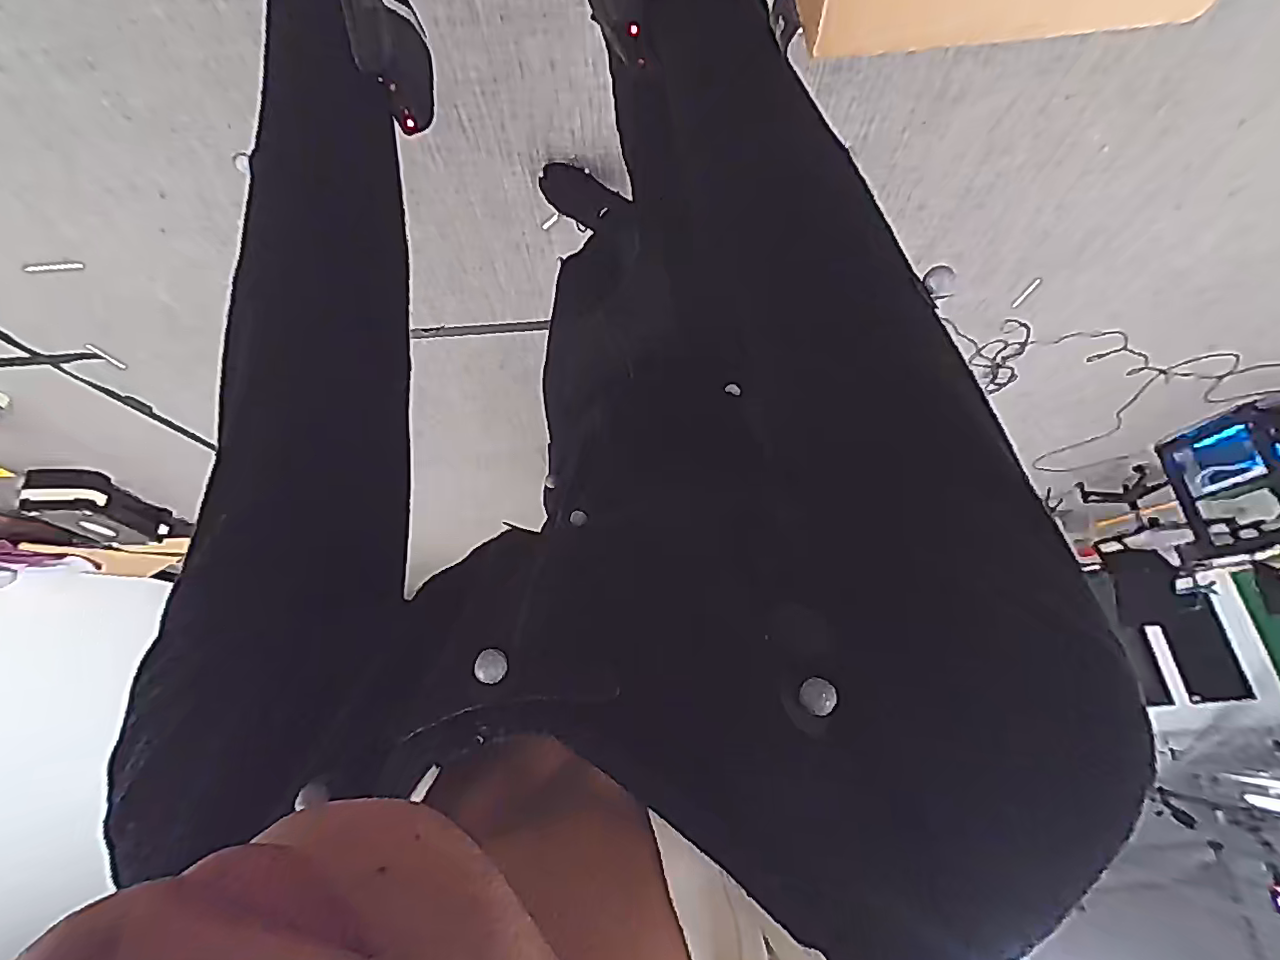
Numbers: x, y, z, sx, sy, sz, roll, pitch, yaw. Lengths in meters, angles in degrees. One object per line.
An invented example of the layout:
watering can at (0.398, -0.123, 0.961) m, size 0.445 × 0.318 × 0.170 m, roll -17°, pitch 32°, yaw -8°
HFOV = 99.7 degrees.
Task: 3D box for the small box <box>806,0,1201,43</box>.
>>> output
small box at (0.154, -0.306, 0.191) m, size 0.179 × 0.176 × 0.168 m, roll -5°, pitch 158°, yaw 2°
